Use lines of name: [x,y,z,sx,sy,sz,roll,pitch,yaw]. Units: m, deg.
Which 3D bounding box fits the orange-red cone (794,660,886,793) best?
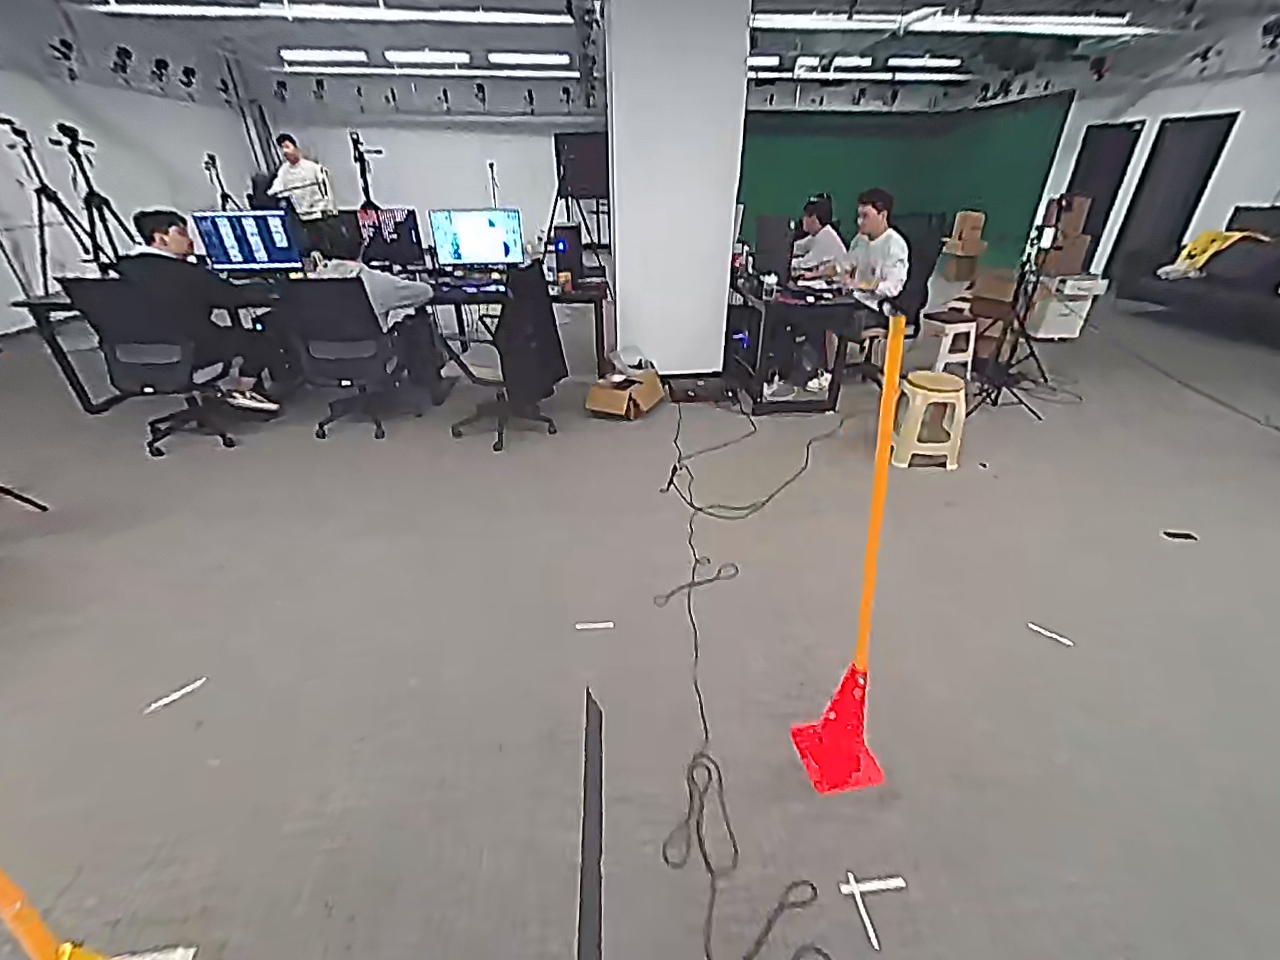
orange-red cone: [0.545,0.612,1.416,0.199,0.360,0.198,-6,29,-7]
